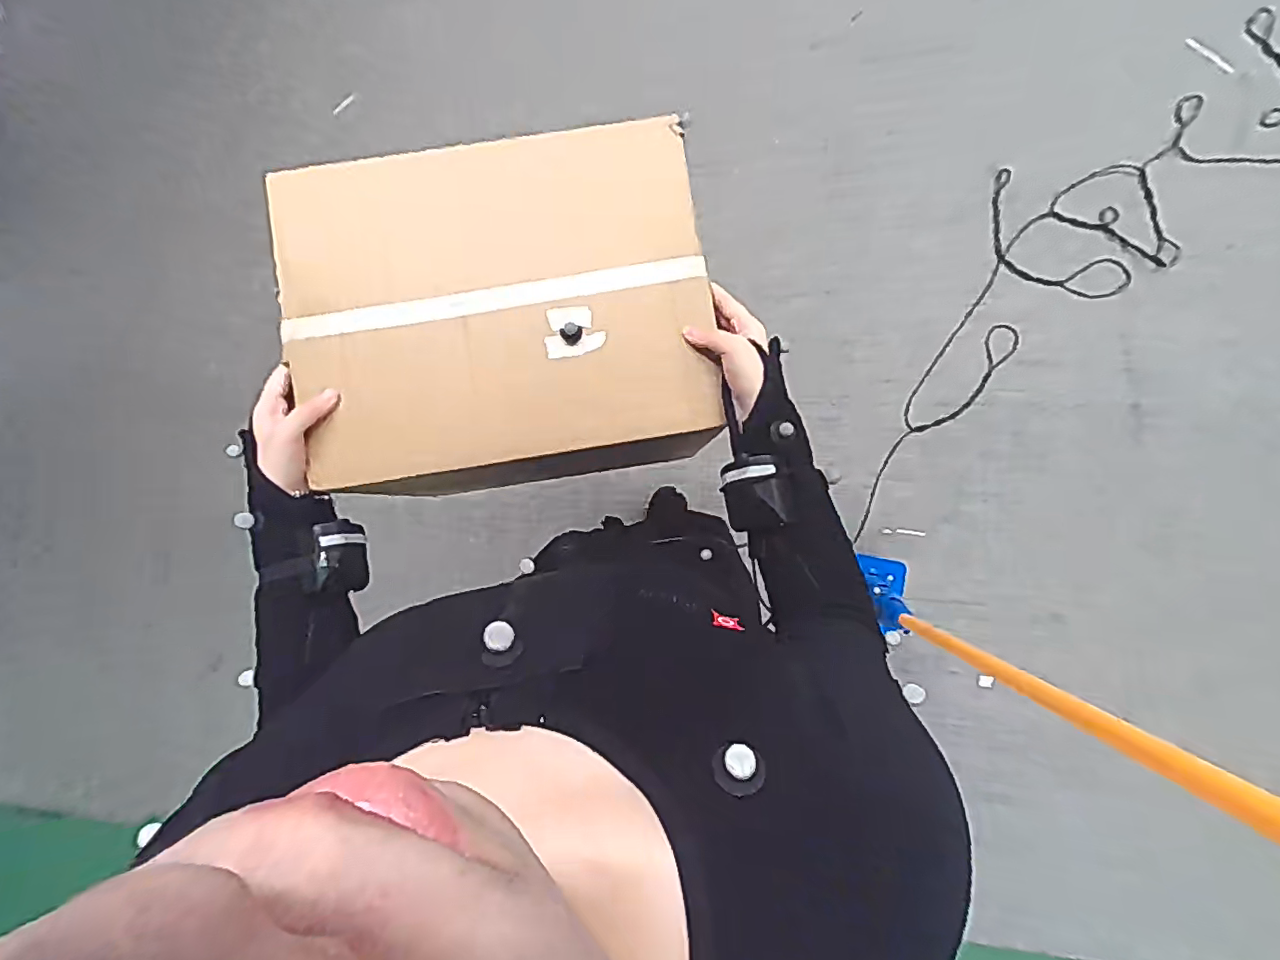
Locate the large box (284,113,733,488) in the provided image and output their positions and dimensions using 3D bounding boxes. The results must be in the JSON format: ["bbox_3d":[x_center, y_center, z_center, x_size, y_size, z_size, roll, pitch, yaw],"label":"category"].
[{"bbox_3d":[-0.135,-0.177,0.673,0.408,0.320,0.320,-9,88,-3],"label":"large box"}]

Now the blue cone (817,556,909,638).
[{"bbox_3d":[0.541,0.292,1.244,0.193,0.380,0.192,11,89,10],"label":"blue cone"}]
